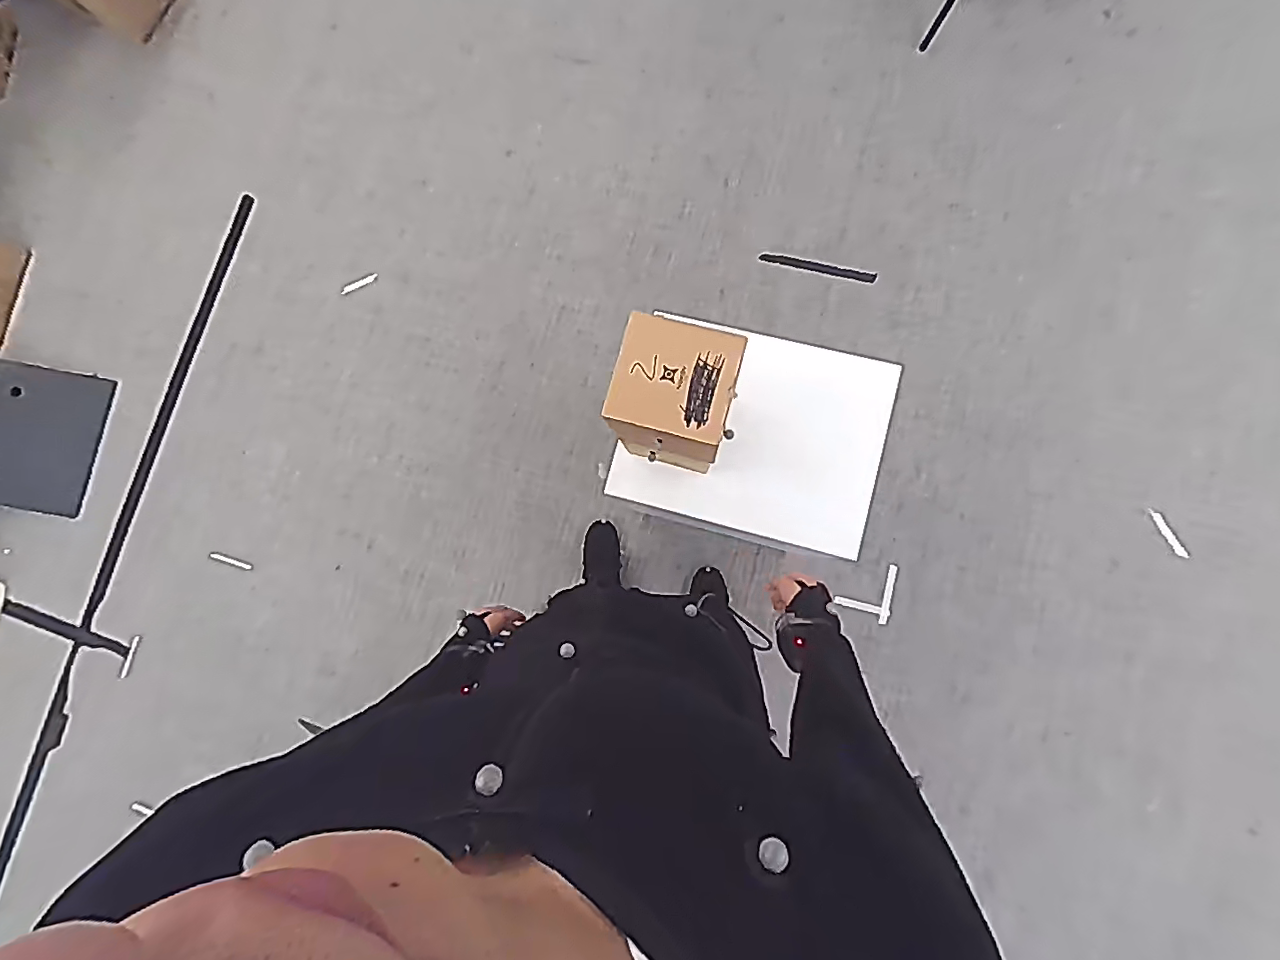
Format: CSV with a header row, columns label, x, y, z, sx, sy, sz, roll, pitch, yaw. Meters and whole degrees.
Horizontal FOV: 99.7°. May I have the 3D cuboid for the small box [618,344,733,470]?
label,x,y,z,sx,sy,sz,roll,pitch,yaw
small box,0.069,-0.126,1.011,0.168,0.176,0.179,16,85,6
